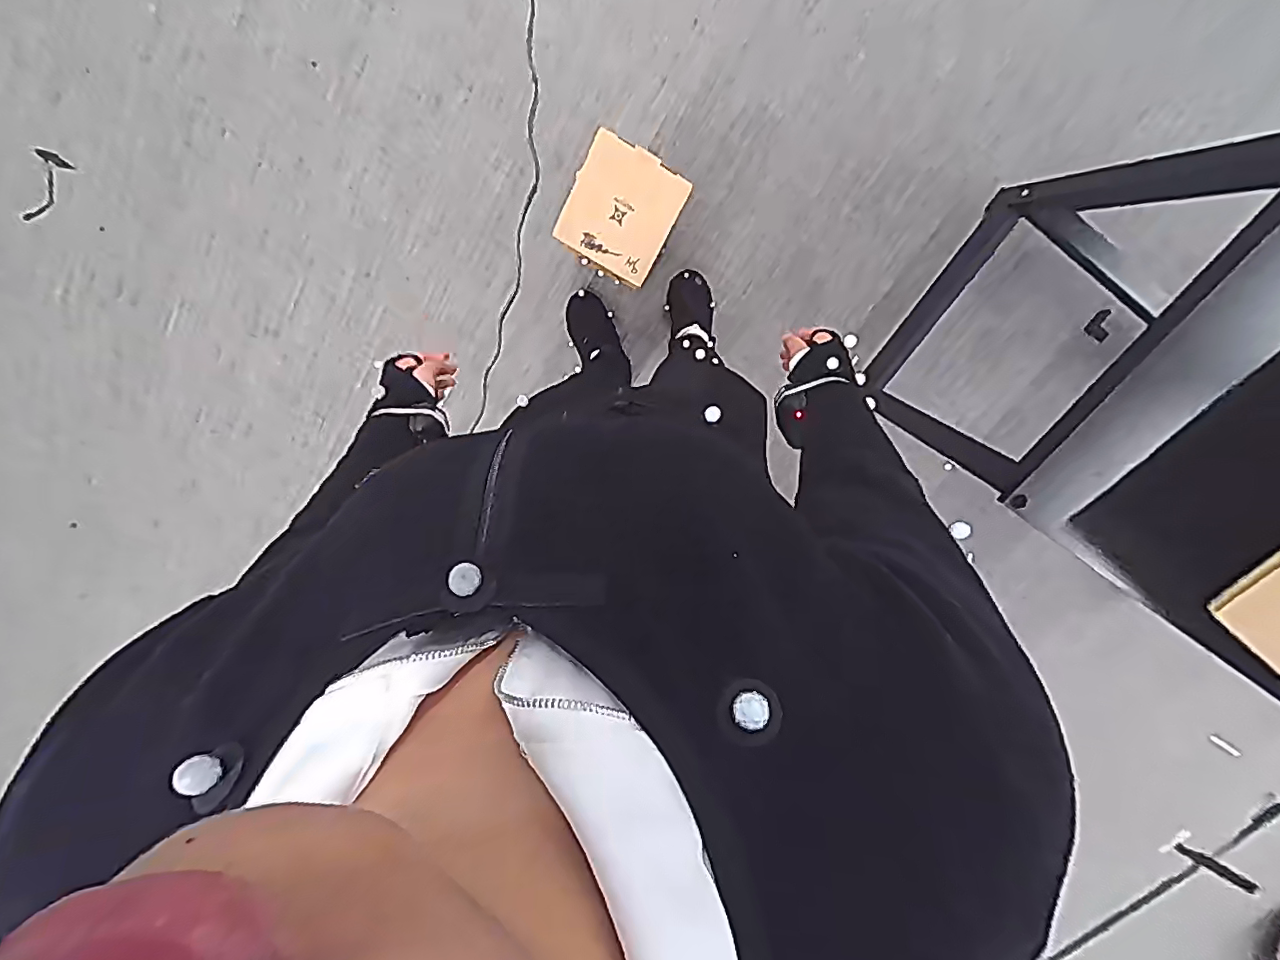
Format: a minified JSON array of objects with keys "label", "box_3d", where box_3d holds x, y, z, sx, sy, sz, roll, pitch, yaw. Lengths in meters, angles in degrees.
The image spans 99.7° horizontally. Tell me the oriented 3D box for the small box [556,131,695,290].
[{"label":"small box","box_3d":[-0.028,-0.450,0.929,0.168,0.176,0.179,28,108,-11]}]
